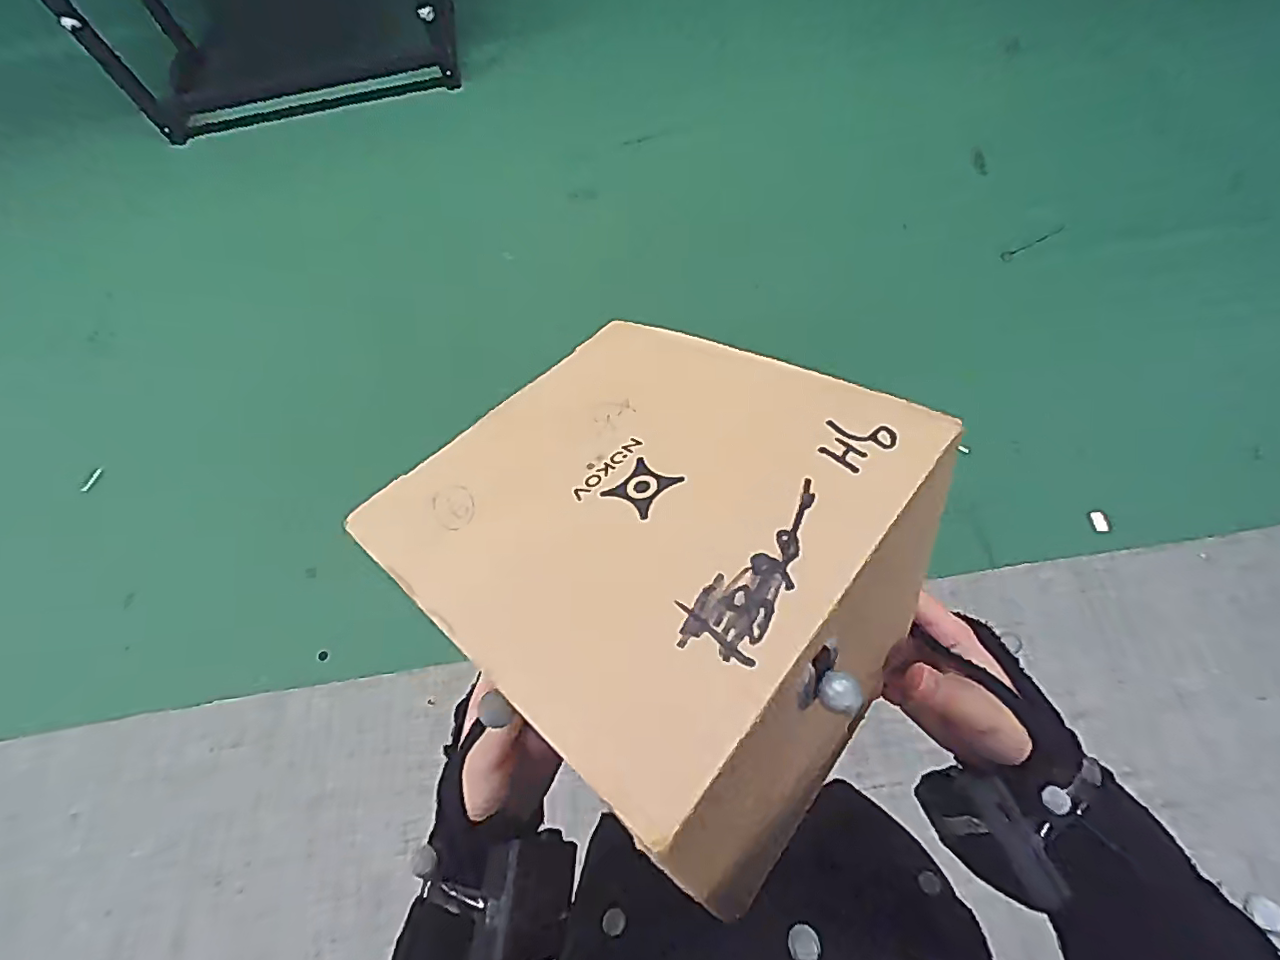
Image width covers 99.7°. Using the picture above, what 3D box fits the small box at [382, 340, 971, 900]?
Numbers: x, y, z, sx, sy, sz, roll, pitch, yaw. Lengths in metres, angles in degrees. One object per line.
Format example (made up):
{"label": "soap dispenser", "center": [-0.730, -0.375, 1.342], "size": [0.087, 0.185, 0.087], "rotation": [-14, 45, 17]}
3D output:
{"label": "small box", "center": [0.022, 0.061, 0.265], "size": [0.179, 0.176, 0.168], "rotation": [27, 61, 36]}
